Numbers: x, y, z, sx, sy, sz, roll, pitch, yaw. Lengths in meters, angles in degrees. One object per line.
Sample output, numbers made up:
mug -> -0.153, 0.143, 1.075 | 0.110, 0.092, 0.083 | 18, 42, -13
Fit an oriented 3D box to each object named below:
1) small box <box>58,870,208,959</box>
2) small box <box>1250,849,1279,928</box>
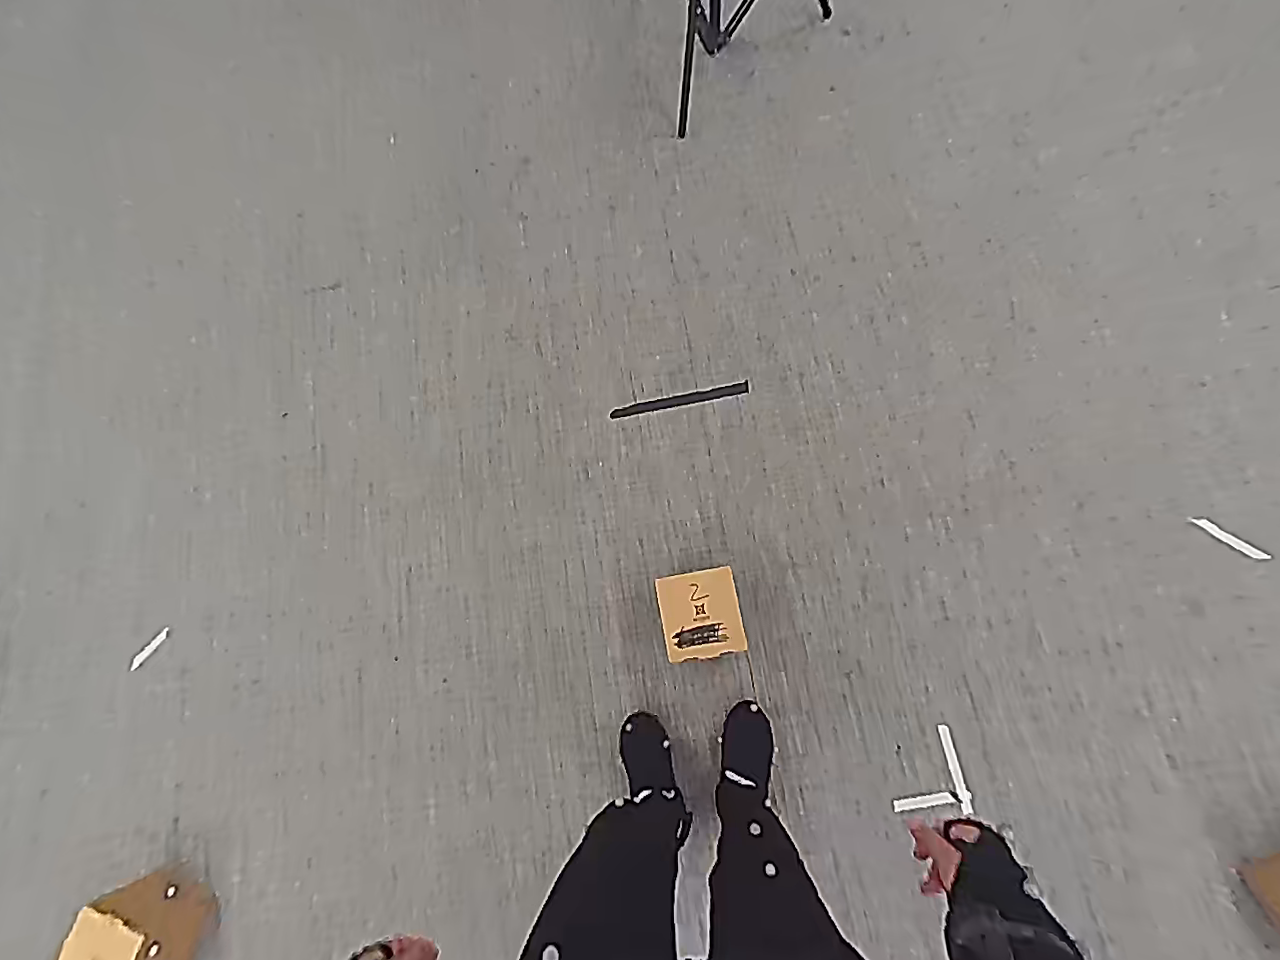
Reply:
small box -> -1.103, 1.007, 1.178 | 0.168, 0.176, 0.179 | 15, 79, 10
small box -> 1.262, 0.771, 0.953 | 0.179, 0.176, 0.168 | -25, 75, 0
